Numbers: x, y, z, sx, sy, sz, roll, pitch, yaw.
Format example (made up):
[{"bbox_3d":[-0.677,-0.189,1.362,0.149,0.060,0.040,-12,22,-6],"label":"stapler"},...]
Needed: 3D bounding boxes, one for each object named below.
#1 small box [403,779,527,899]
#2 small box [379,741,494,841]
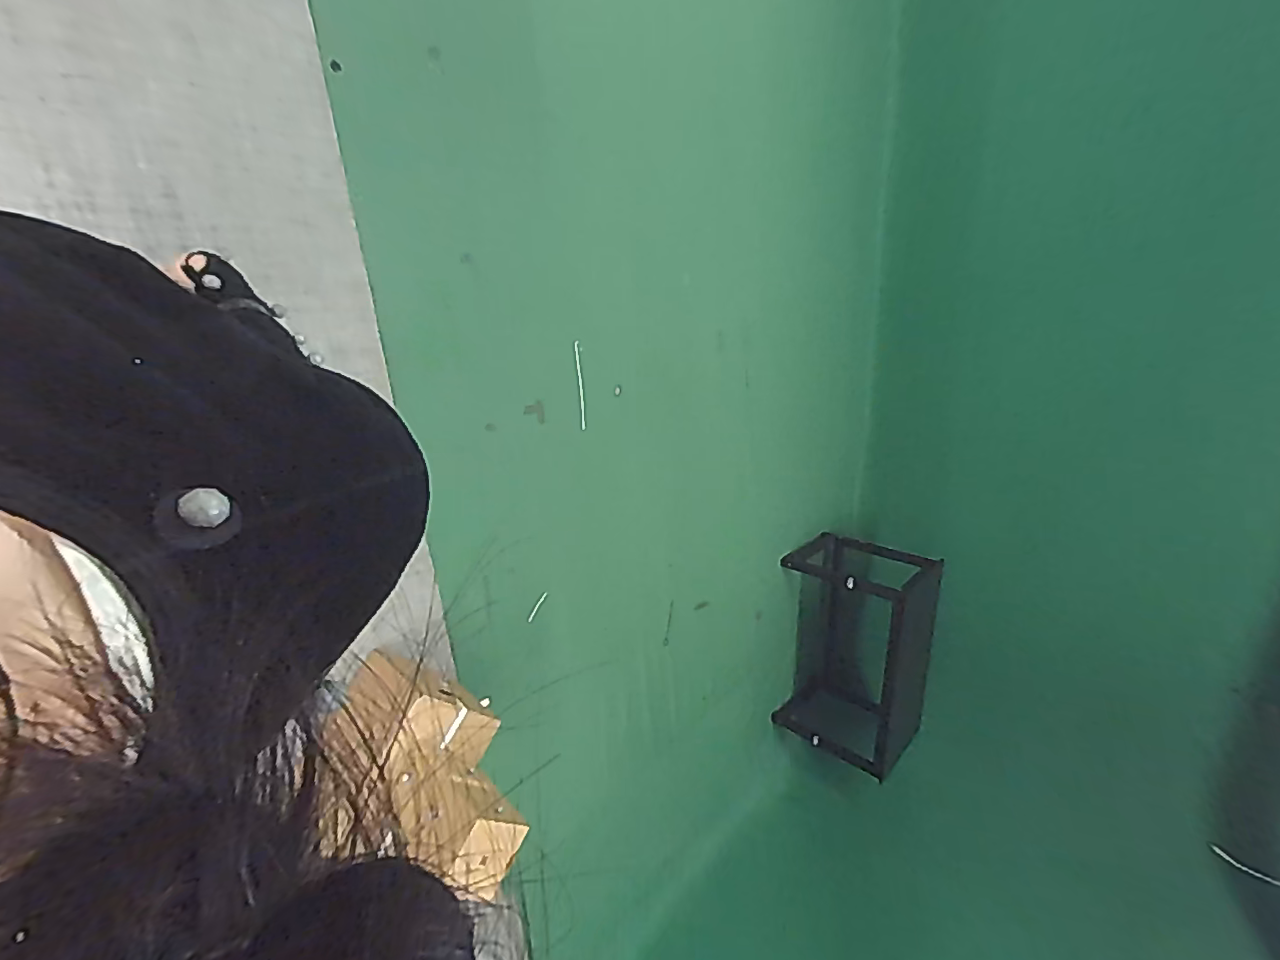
[{"bbox_3d":[-0.404,0.823,1.248,0.179,0.176,0.168,47,66,-42],"label":"small box"},{"bbox_3d":[-0.514,0.792,1.364,0.168,0.176,0.179,-57,134,-19],"label":"small box"}]
